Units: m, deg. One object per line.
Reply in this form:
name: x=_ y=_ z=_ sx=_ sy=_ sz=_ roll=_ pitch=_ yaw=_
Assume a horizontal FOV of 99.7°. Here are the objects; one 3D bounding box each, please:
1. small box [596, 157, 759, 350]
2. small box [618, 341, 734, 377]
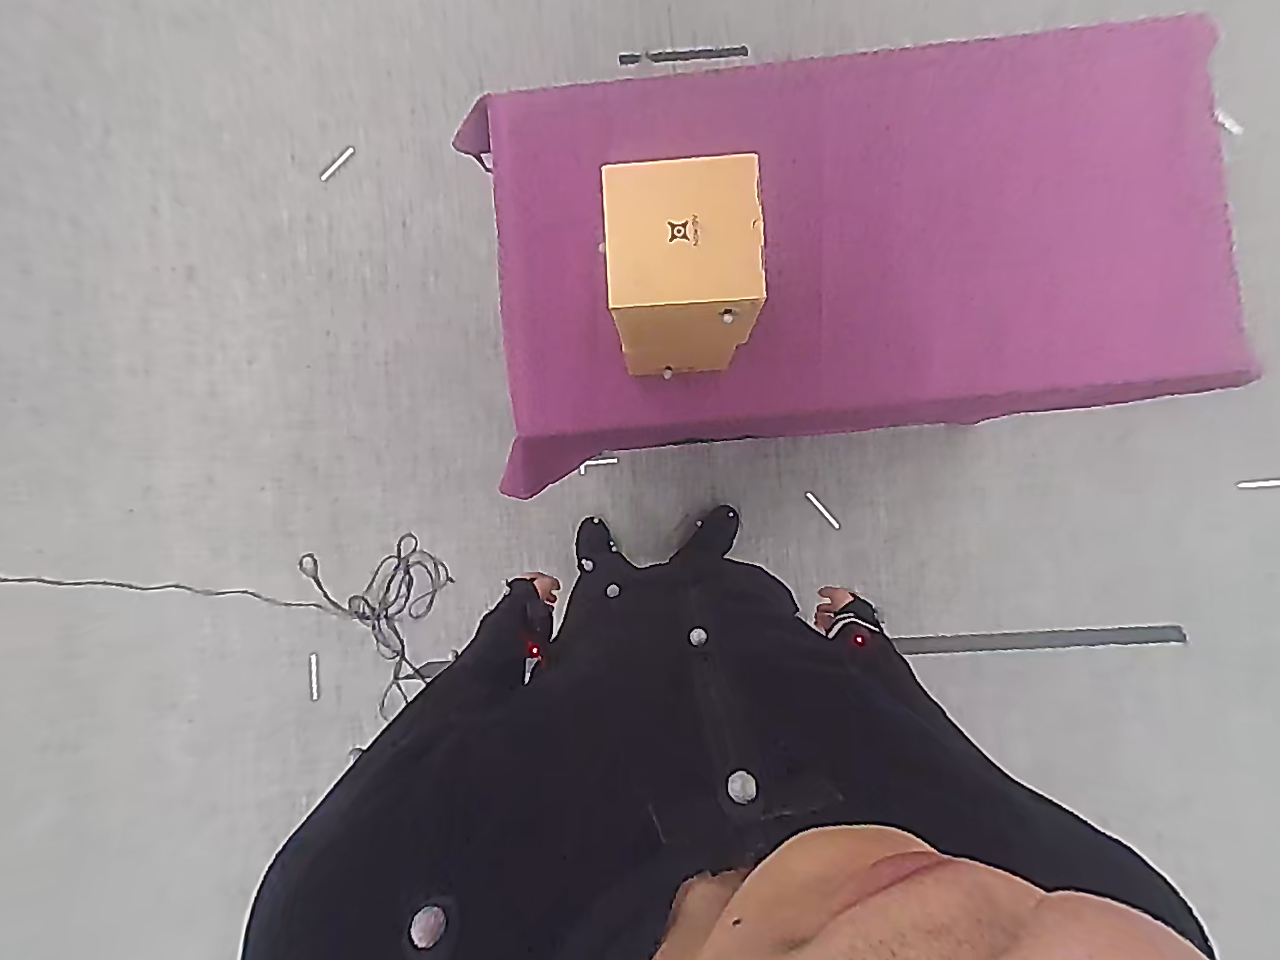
small box: x=0.045 y=-0.265 z=0.673 sx=0.179 sy=0.176 sz=0.168 roll=-3 pitch=88 yaw=3
small box: x=0.049 y=-0.267 z=0.835 sx=0.168 sy=0.176 sz=0.179 roll=-4 pitch=89 yaw=3
